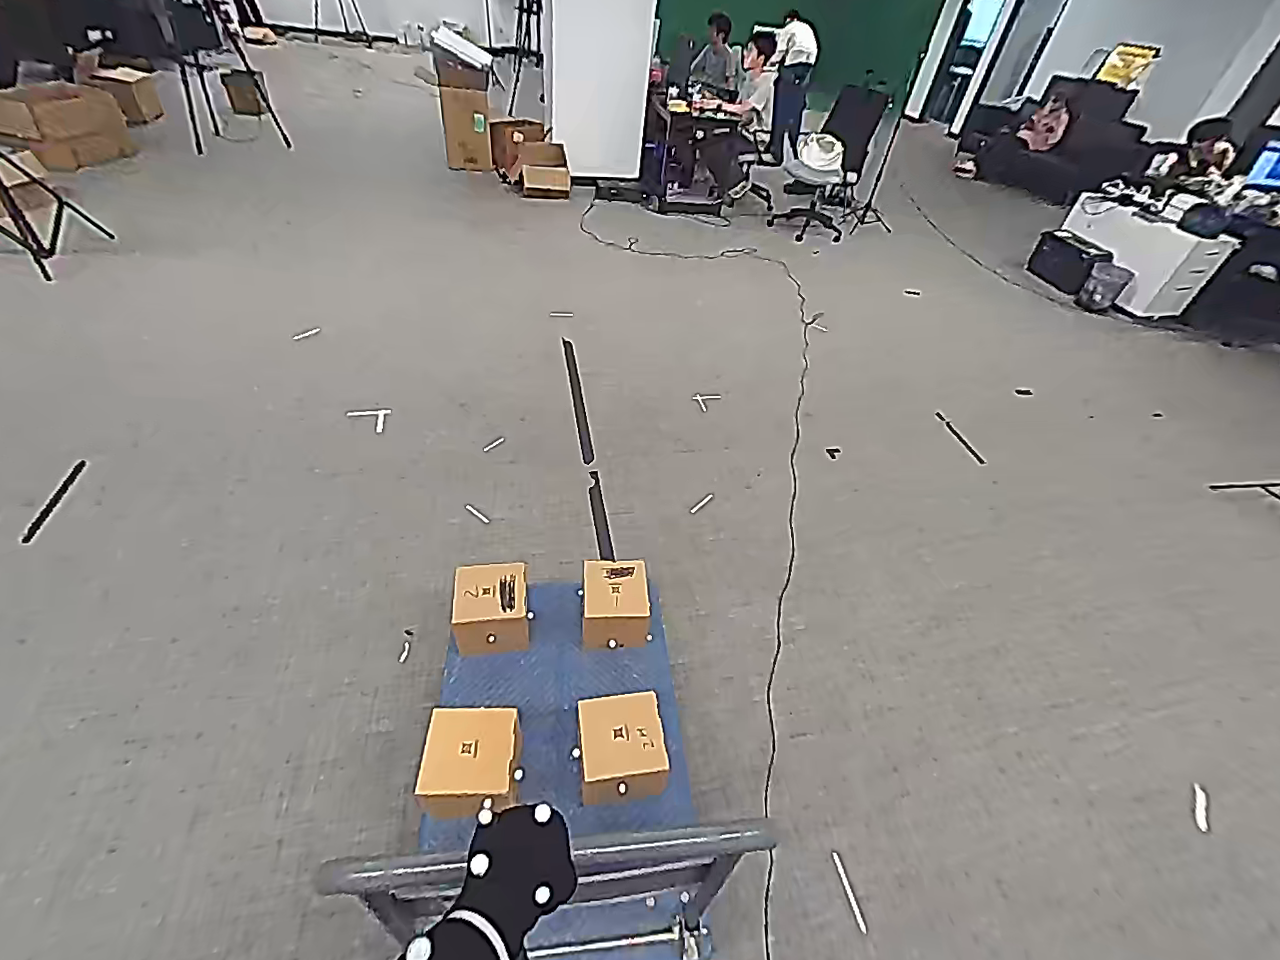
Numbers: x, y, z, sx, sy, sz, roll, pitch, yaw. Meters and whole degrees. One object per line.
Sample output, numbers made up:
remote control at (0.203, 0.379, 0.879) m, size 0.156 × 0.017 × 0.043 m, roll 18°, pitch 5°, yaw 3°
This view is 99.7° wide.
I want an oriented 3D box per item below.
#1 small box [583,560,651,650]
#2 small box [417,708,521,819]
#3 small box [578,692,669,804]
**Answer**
small box at (-0.067, 0.336, 1.452) m, size 0.168 × 0.176 × 0.179 m, roll 1°, pitch 45°, yaw -7°
small box at (-0.349, 0.598, 1.139) m, size 0.179 × 0.176 × 0.168 m, roll 3°, pitch 43°, yaw -7°
small box at (-0.043, 0.591, 1.188) m, size 0.179 × 0.176 × 0.168 m, roll -3°, pitch 44°, yaw -11°
